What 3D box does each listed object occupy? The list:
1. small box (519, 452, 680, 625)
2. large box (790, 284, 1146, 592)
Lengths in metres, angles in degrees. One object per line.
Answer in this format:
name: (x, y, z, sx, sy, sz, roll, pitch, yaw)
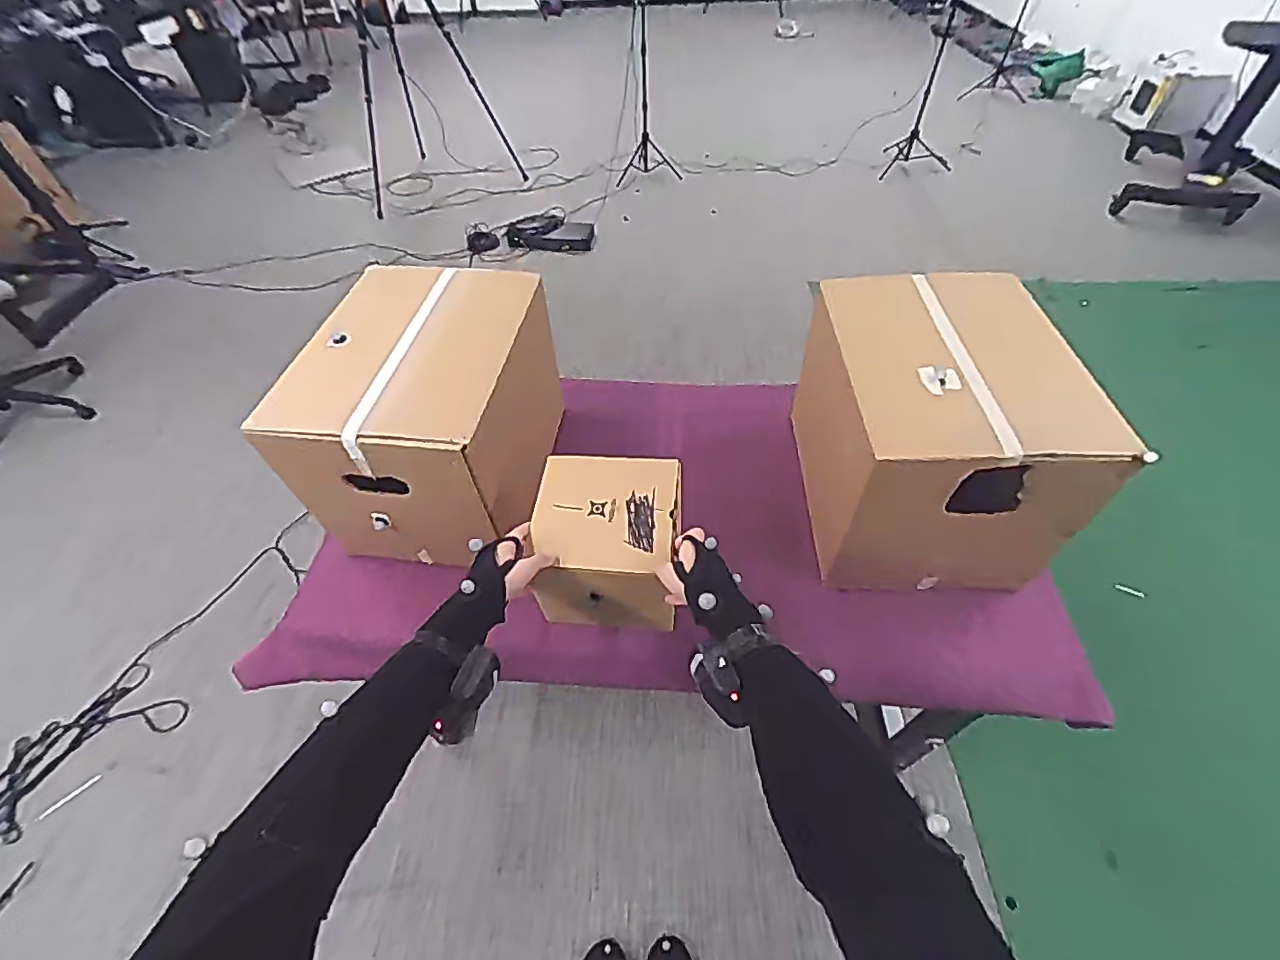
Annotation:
small box: (-0.039, 0.082, 0.721, 0.179, 0.176, 0.168, 3, 53, 8)
large box: (0.447, -0.069, 0.872, 0.320, 0.320, 0.408, -1, 50, 5)
